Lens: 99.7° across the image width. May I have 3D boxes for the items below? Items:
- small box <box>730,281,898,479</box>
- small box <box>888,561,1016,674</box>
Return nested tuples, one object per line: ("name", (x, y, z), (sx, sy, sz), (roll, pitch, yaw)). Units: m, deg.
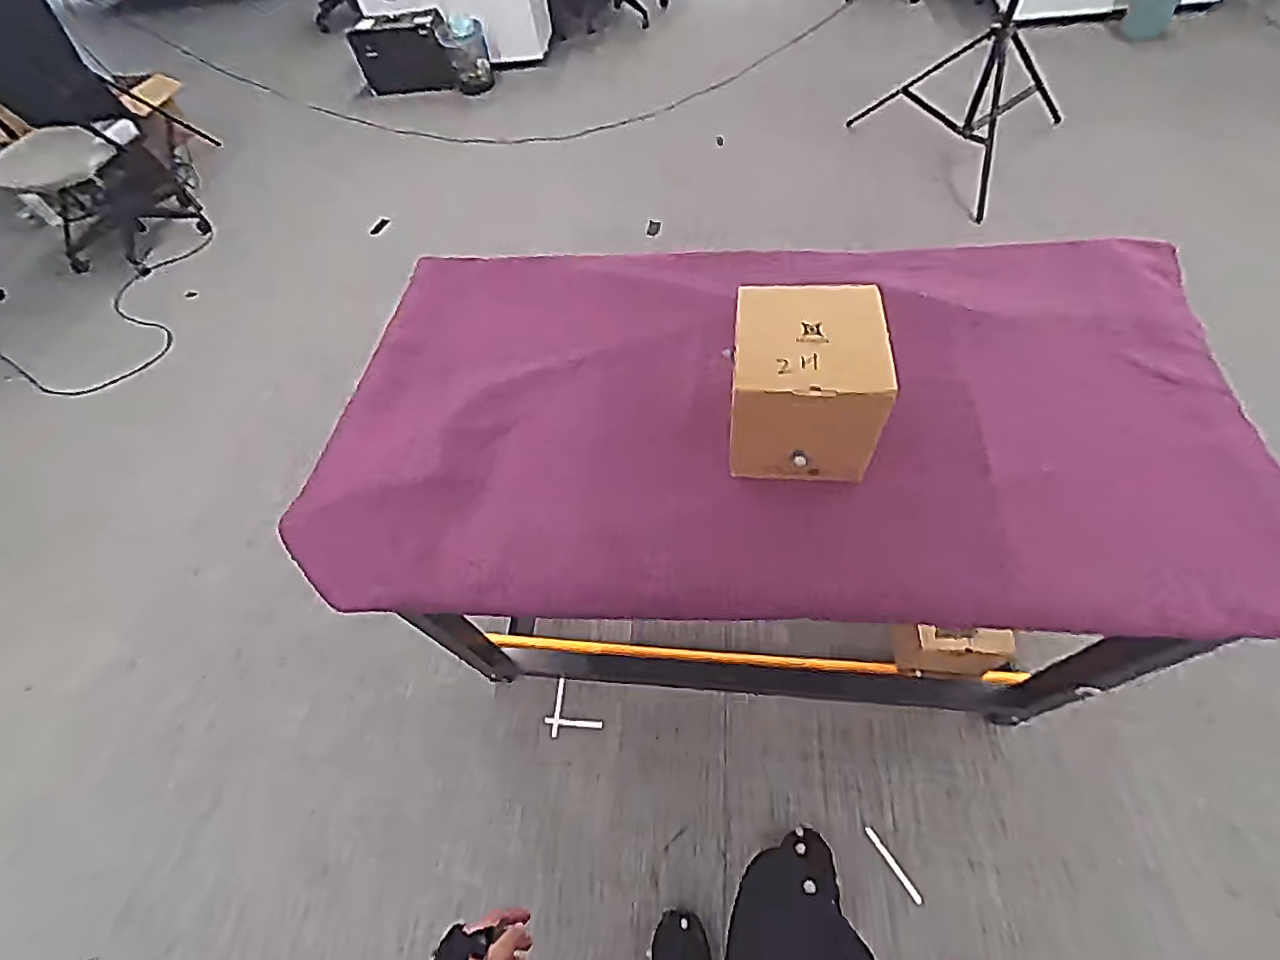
("small box", (0.200, -0.122, 0.669), (0.168, 0.176, 0.179), (2, 57, 9))
("small box", (0.615, 0.281, 1.090), (0.168, 0.176, 0.179), (2, 57, 9))
